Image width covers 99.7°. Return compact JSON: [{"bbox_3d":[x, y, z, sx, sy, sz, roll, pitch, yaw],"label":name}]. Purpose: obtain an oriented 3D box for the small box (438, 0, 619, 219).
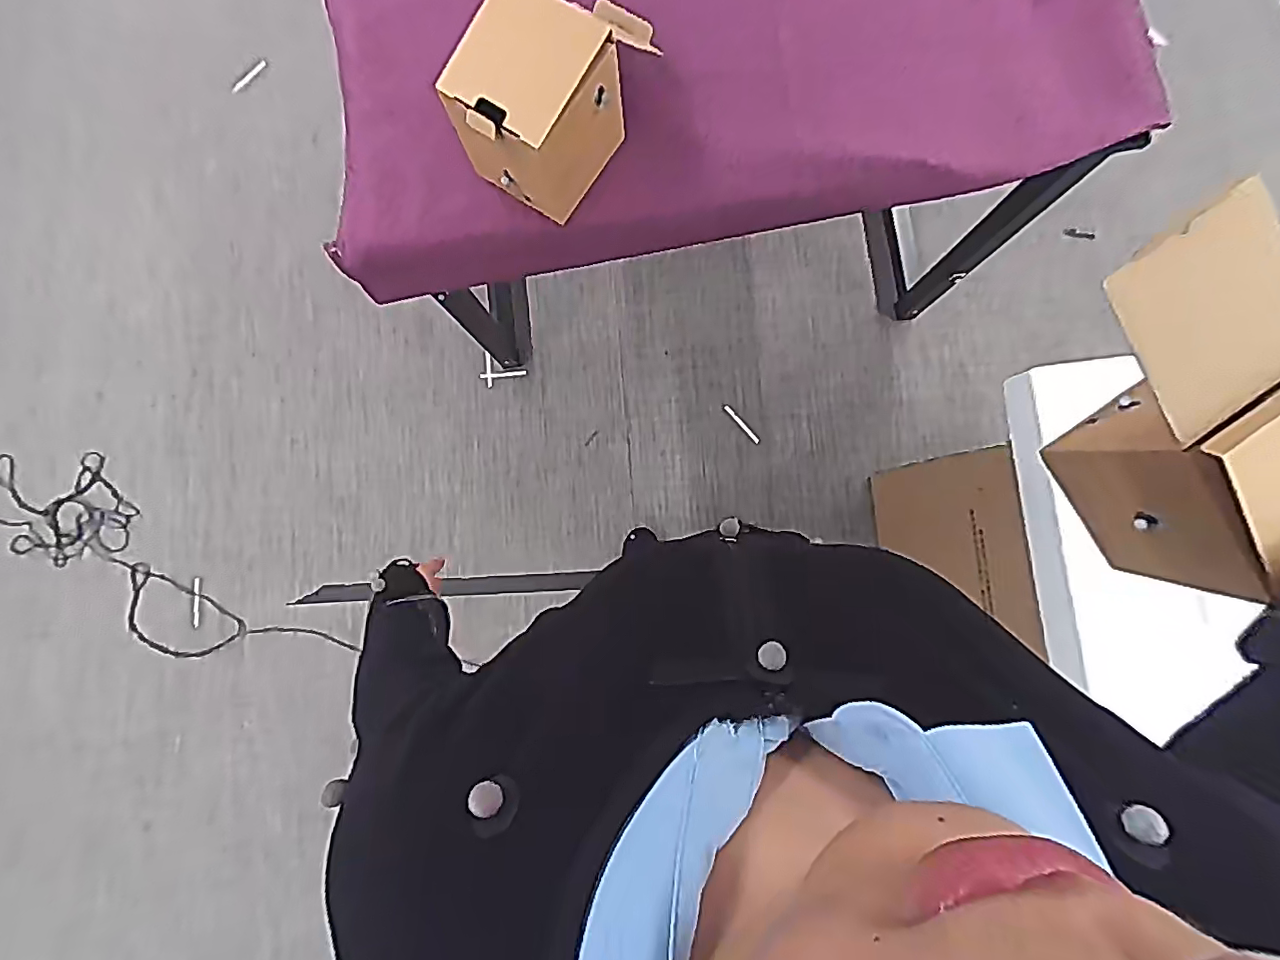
[{"bbox_3d":[-0.141,-0.518,0.762,0.168,0.176,0.179,33,86,6],"label":"small box"}]
